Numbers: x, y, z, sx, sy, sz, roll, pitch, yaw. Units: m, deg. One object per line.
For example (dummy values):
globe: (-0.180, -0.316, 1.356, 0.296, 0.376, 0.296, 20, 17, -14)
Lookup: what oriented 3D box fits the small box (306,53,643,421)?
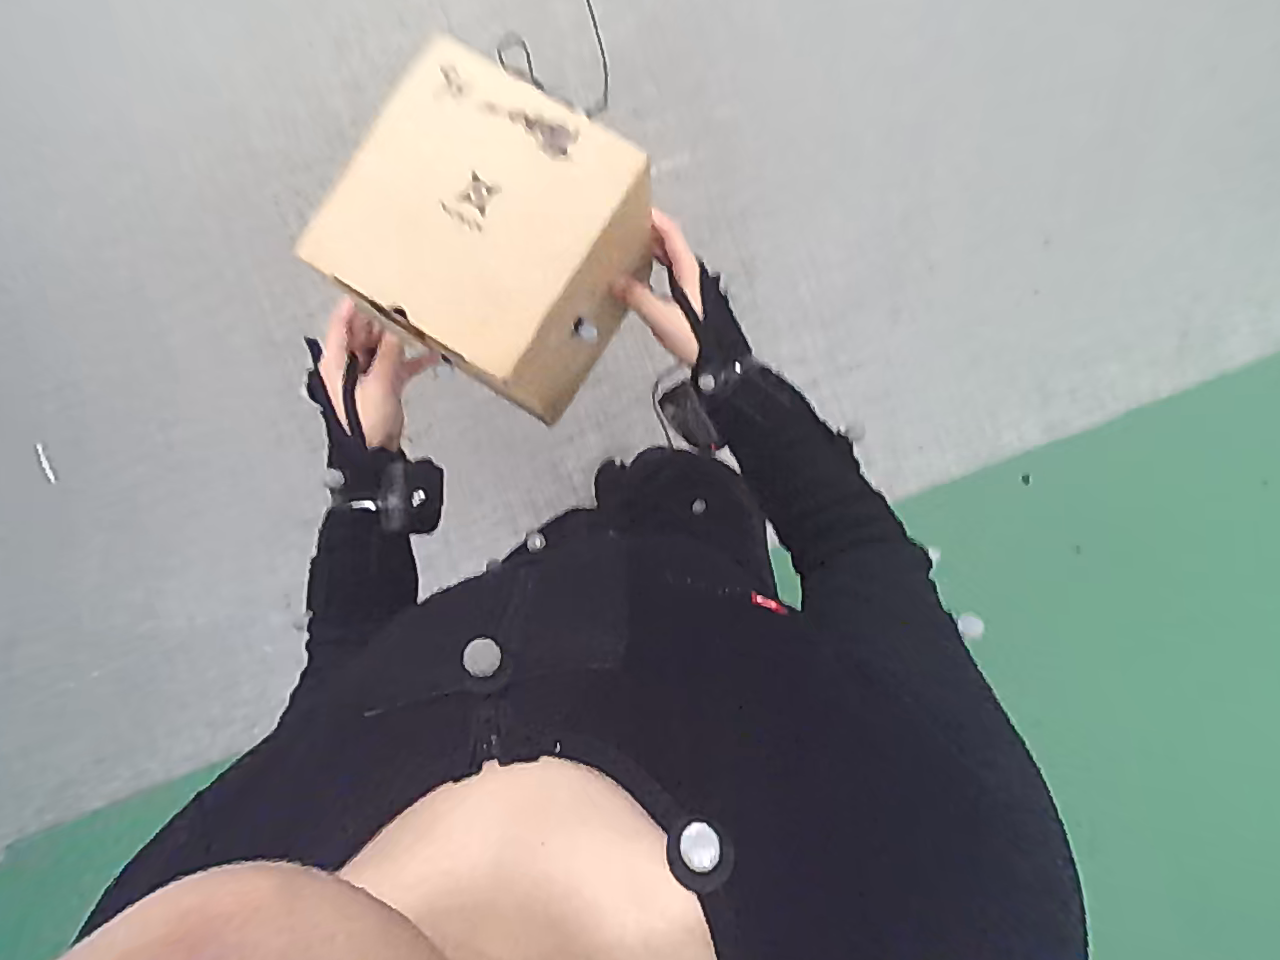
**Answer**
small box: (-0.106, -0.167, 0.434, 0.168, 0.176, 0.179, 32, 88, 4)
